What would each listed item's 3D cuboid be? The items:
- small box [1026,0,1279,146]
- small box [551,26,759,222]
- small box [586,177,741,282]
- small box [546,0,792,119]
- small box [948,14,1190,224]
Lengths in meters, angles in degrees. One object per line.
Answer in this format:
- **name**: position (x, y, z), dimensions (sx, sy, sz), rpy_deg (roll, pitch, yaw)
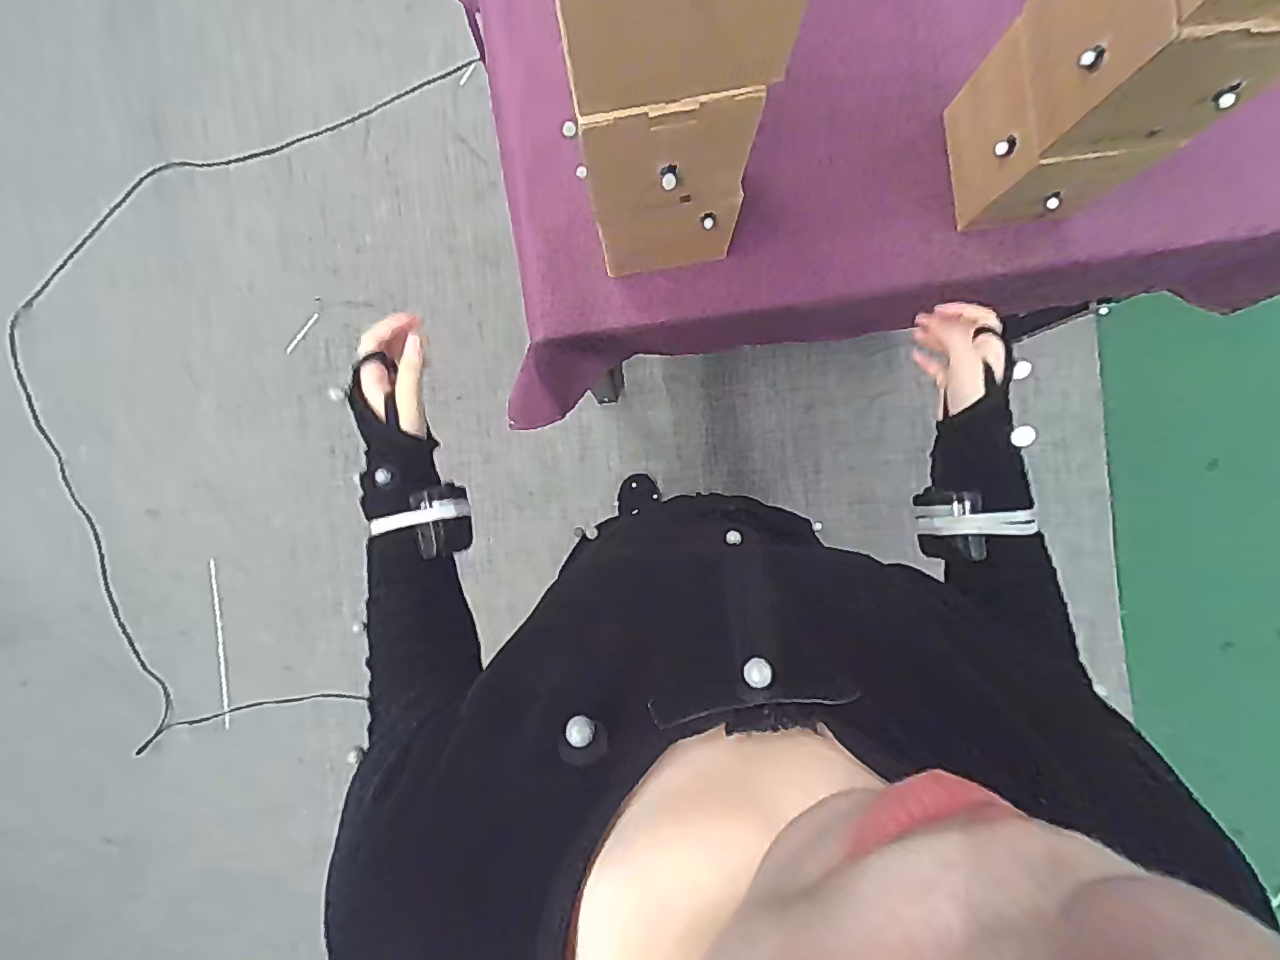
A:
- **small box**: position (0.512, -0.453, 0.519), dimensions (0.168, 0.176, 0.179), rpy_deg (-5, 88, 3)
- **small box**: position (0.011, -0.385, 0.543), dimensions (0.168, 0.176, 0.179), rpy_deg (-11, 89, 1)
- **small box**: position (0.023, -0.379, 0.707), dimensions (0.179, 0.176, 0.168), rpy_deg (-11, 88, 2)
- **small box**: position (0.012, -0.394, 0.378), dimensions (0.179, 0.176, 0.168), rpy_deg (-10, 88, 1)
- **small box**: position (0.521, -0.446, 0.682), dimensions (0.168, 0.176, 0.179), rpy_deg (-7, 88, 2)
